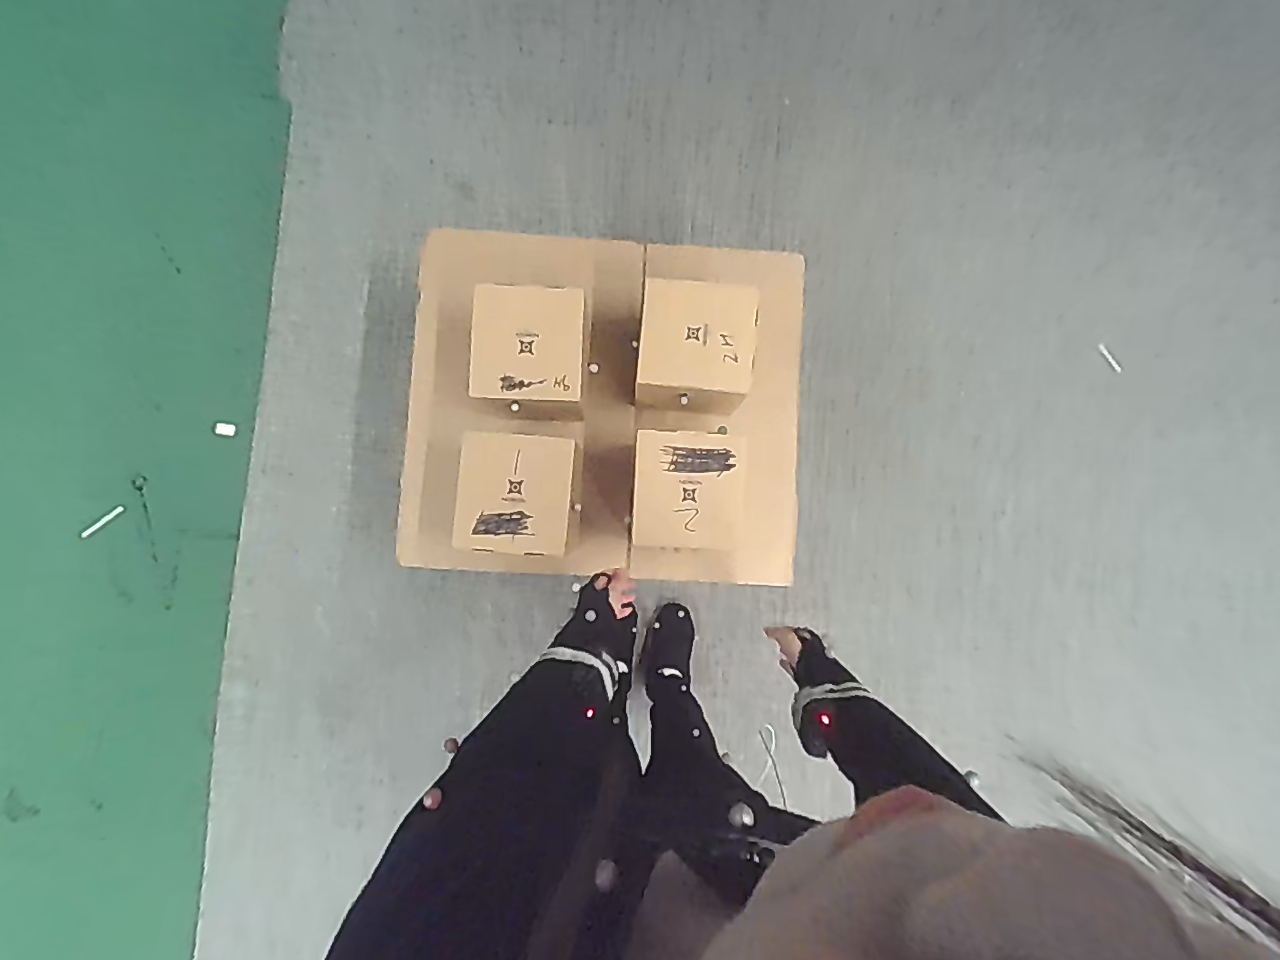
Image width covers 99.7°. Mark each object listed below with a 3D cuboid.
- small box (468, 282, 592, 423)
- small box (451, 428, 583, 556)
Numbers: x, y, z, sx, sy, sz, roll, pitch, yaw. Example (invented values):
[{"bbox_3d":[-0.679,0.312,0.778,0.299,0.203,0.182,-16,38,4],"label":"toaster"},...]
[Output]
[{"bbox_3d":[-0.168,-0.199,0.879,0.168,0.176,0.179,2,84,0],"label":"small box"},{"bbox_3d":[-0.185,0.022,0.863,0.168,0.176,0.179,5,85,-1],"label":"small box"}]
